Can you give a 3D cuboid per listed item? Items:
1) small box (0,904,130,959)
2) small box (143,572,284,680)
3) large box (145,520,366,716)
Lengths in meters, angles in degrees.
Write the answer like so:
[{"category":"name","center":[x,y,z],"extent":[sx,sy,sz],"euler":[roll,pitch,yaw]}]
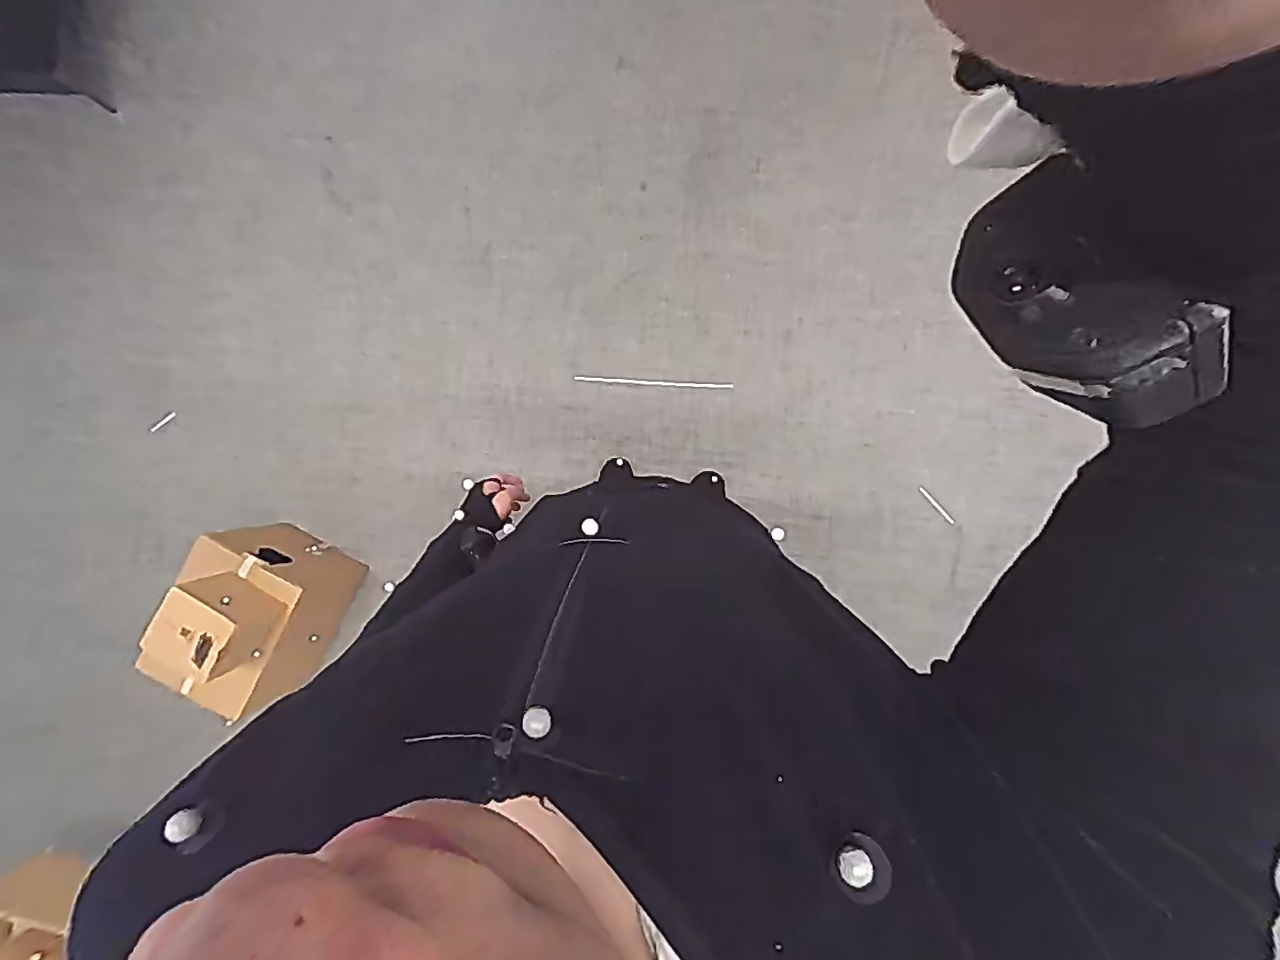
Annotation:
[{"category":"small box","center":[-1.341,1.124,1.237],"extent":[0.179,0.176,0.168],"euler":[12,92,1]},{"category":"small box","center":[-1.016,0.341,1.306],"extent":[0.179,0.176,0.168],"euler":[31,93,0]},{"category":"large box","center":[-1.076,0.370,1.556],"extent":[0.320,0.320,0.408],"euler":[28,94,2]}]
